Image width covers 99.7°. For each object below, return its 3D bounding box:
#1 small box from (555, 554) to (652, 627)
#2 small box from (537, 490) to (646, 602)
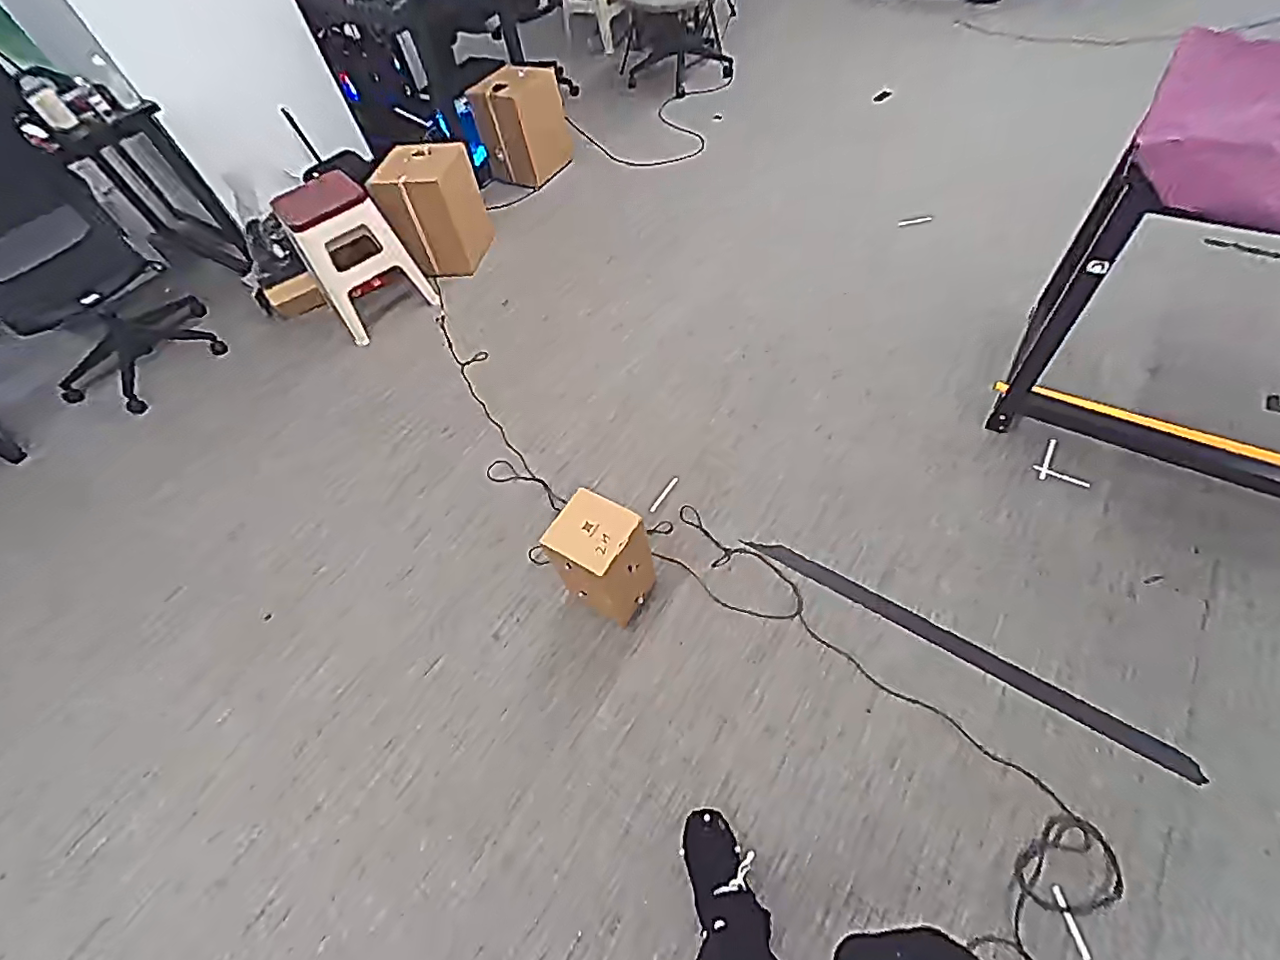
[{"bbox_3d":[-0.087,0.251,1.393,0.179,0.176,0.168,27,64,23],"label":"small box"},{"bbox_3d":[-0.106,0.158,1.258,0.179,0.176,0.168,25,64,22],"label":"small box"}]
